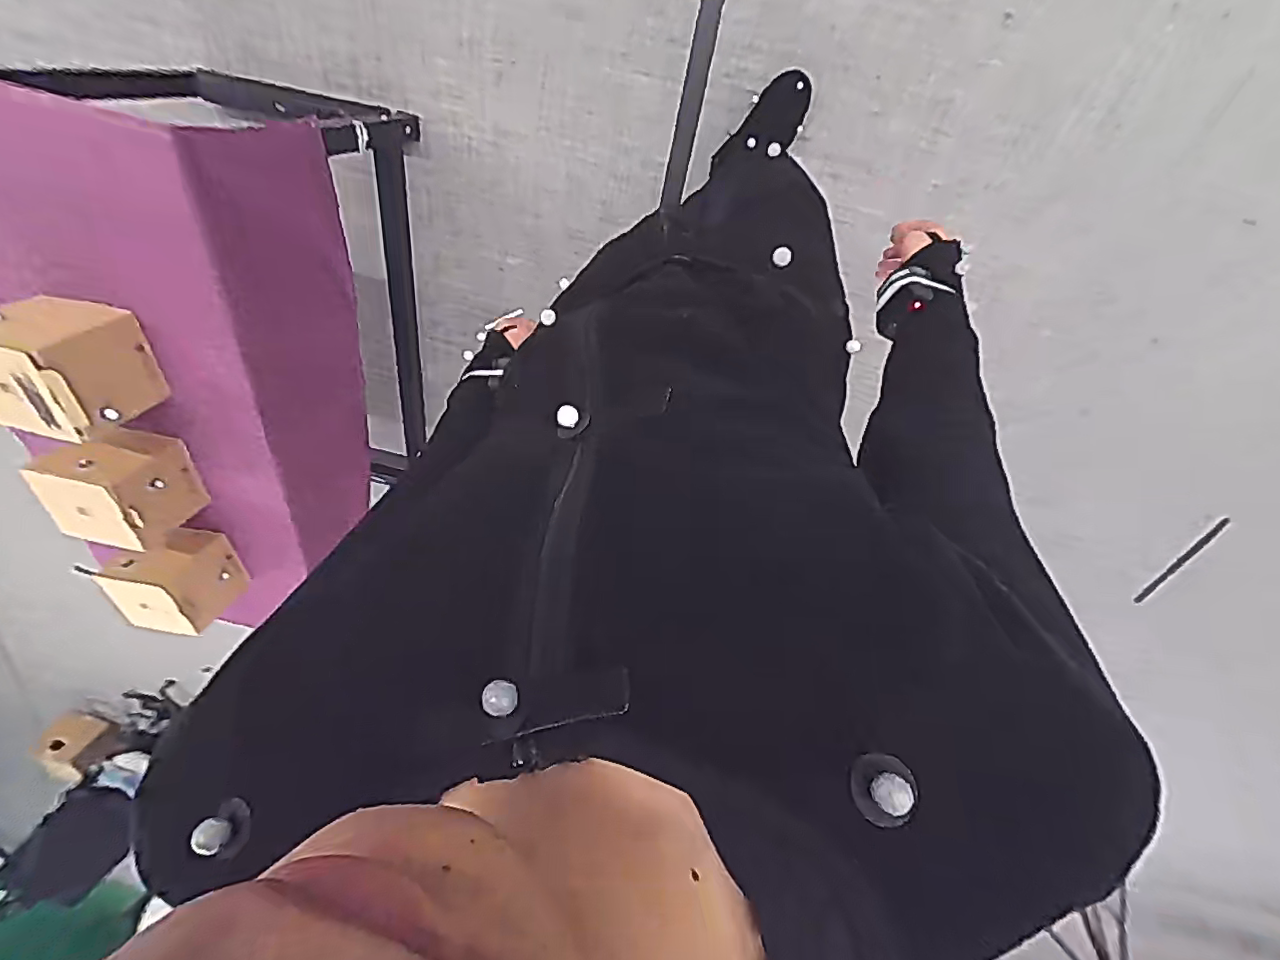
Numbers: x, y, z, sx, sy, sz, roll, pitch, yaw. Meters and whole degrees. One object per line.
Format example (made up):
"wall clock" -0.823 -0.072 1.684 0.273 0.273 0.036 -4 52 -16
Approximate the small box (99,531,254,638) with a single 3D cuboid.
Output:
"small box" -1.047 0.234 1.241 0.179 0.176 0.168 6 127 7

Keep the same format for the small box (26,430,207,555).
"small box" -1.019 0.020 1.079 0.179 0.176 0.168 12 127 3
